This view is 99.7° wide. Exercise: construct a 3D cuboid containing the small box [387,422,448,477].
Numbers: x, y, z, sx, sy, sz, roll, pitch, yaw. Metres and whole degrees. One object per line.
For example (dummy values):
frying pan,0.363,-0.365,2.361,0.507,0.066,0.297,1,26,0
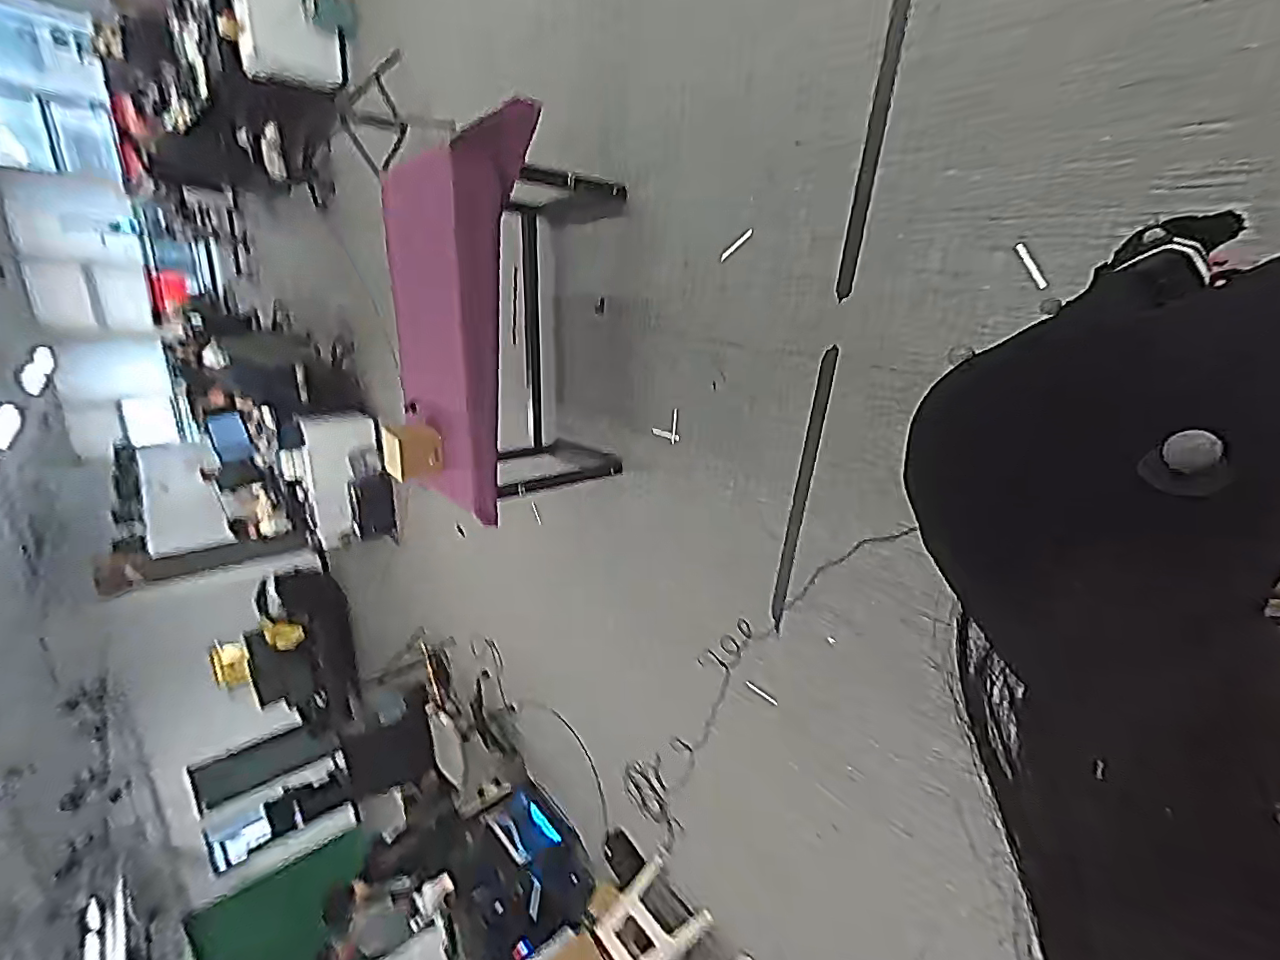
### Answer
small box,-0.863,-0.125,2.103,0.179,0.176,0.168,25,119,42
